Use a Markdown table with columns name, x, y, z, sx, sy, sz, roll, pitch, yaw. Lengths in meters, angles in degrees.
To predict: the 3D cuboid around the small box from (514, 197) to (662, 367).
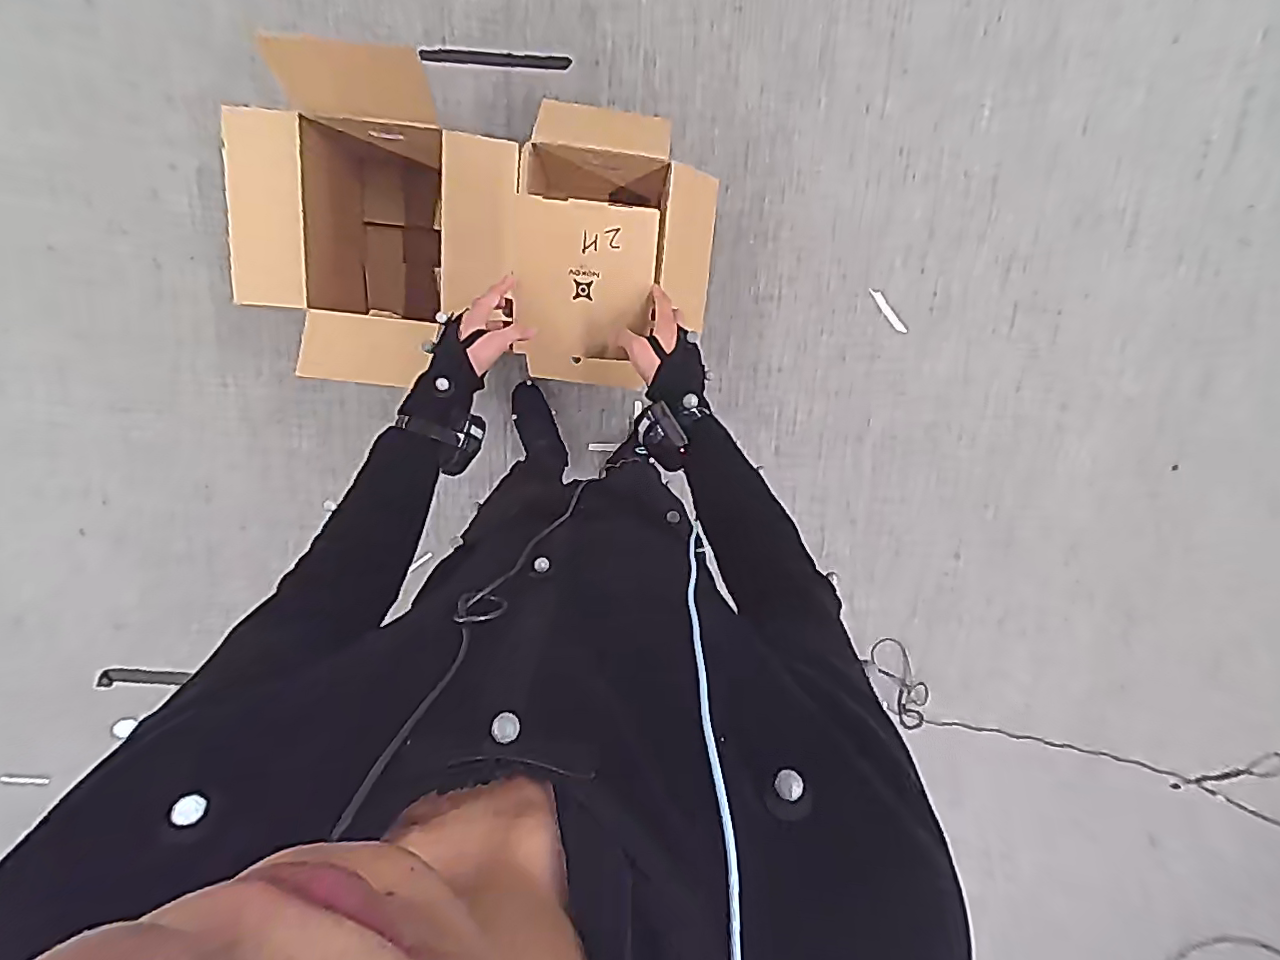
| name | x | y | z | sx | sy | sz | roll | pitch | yaw |
| --- | --- | --- | --- | --- | --- | --- | --- | --- | --- |
| small box | -0.070 | -0.252 | 0.709 | 0.168 | 0.176 | 0.179 | 3 | 108 | -7 |
